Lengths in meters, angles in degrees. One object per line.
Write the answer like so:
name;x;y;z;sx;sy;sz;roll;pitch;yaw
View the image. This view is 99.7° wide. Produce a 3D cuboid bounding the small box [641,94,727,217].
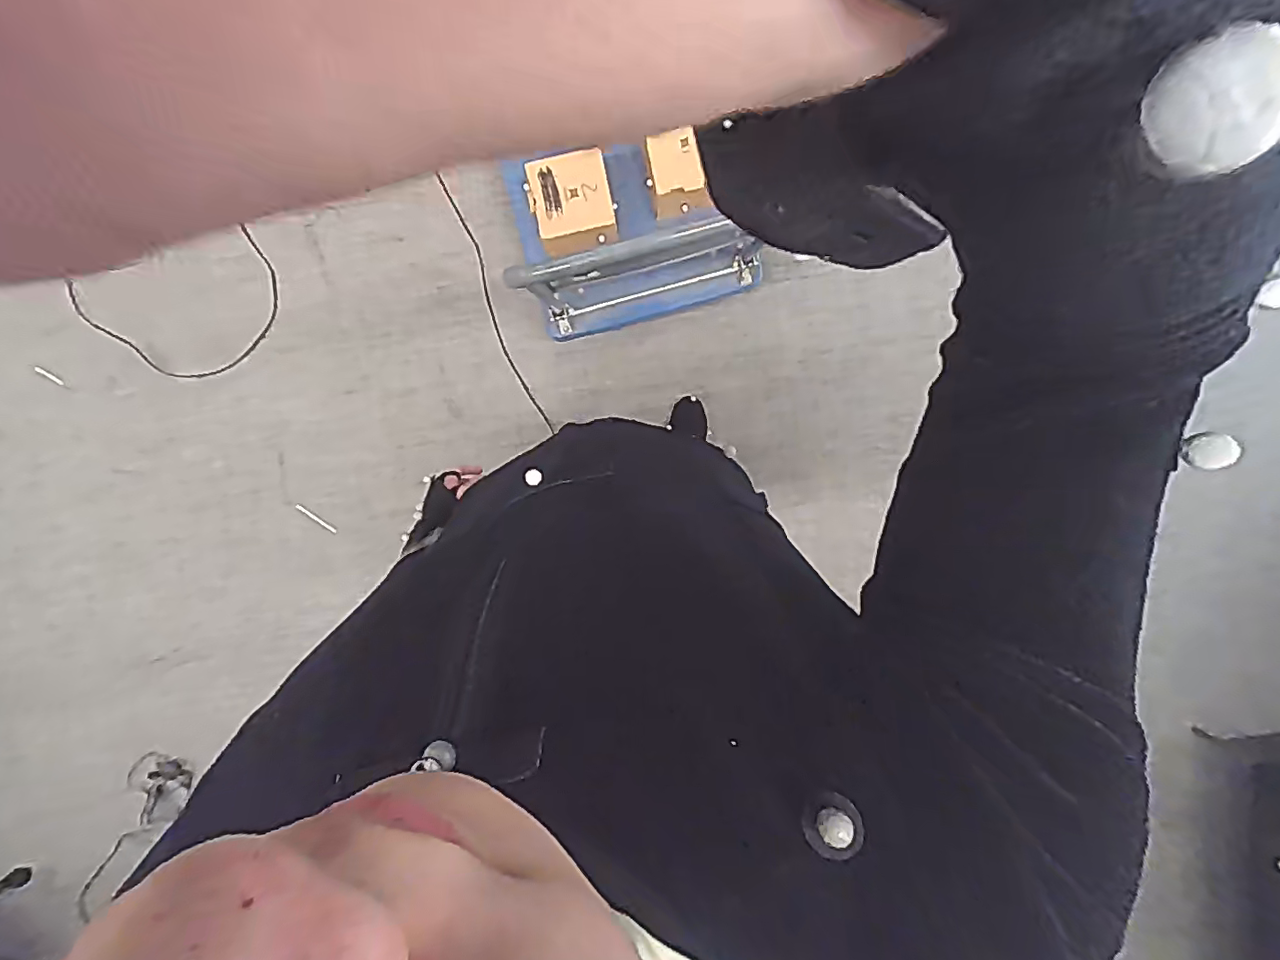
small box;0.096;-0.748;1.263;0.168;0.176;0.179;-13;97;2
